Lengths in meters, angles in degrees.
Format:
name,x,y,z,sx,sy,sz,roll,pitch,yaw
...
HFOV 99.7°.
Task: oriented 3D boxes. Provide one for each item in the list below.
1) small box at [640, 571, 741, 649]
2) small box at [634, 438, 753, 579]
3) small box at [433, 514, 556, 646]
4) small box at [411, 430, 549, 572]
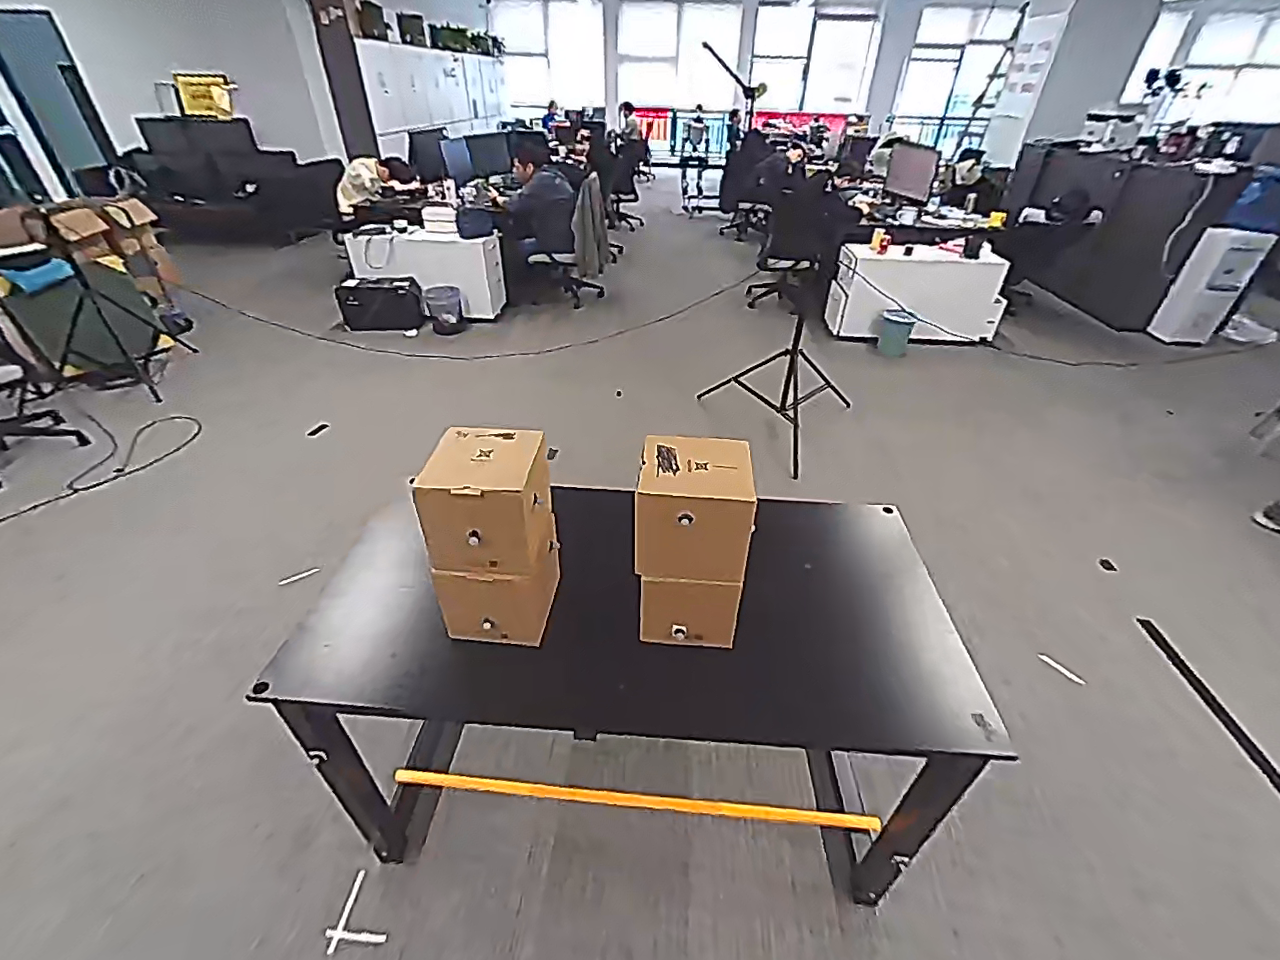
name,x,y,z,sx,sy,sz,roll,pitch,yaw
small box,0.087,0.181,0.987,0.168,0.176,0.179,2,37,2
small box,0.085,0.046,0.891,0.179,0.176,0.168,4,36,4
small box,-0.250,0.173,0.981,0.168,0.176,0.179,4,36,4
small box,-0.249,0.035,0.893,0.168,0.176,0.179,3,37,1
